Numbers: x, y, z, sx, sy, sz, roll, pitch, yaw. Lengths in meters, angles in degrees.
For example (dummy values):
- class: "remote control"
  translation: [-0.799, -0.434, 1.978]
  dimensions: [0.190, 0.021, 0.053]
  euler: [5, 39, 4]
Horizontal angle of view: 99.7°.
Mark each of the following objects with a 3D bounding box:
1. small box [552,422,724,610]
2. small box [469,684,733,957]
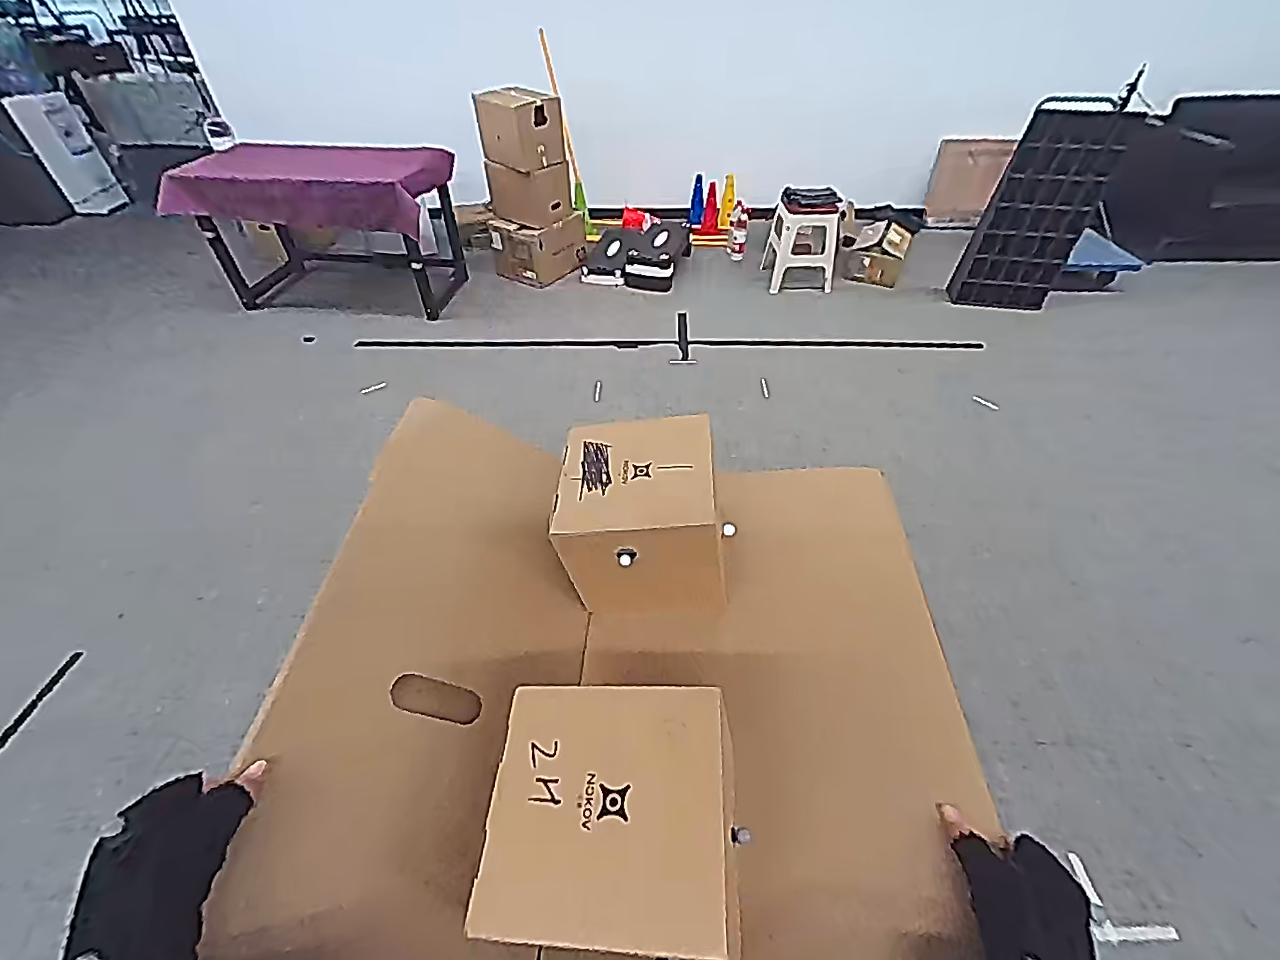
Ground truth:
- class: "small box"
  translation: [0.009, 0.050, 0.673]
  dimensions: [0.179, 0.176, 0.168]
  euler: [-4, 48, 10]
- class: "small box"
  translation: [-0.011, 0.288, 0.462]
  dimensions: [0.179, 0.176, 0.168]
  euler: [-4, 48, 11]
